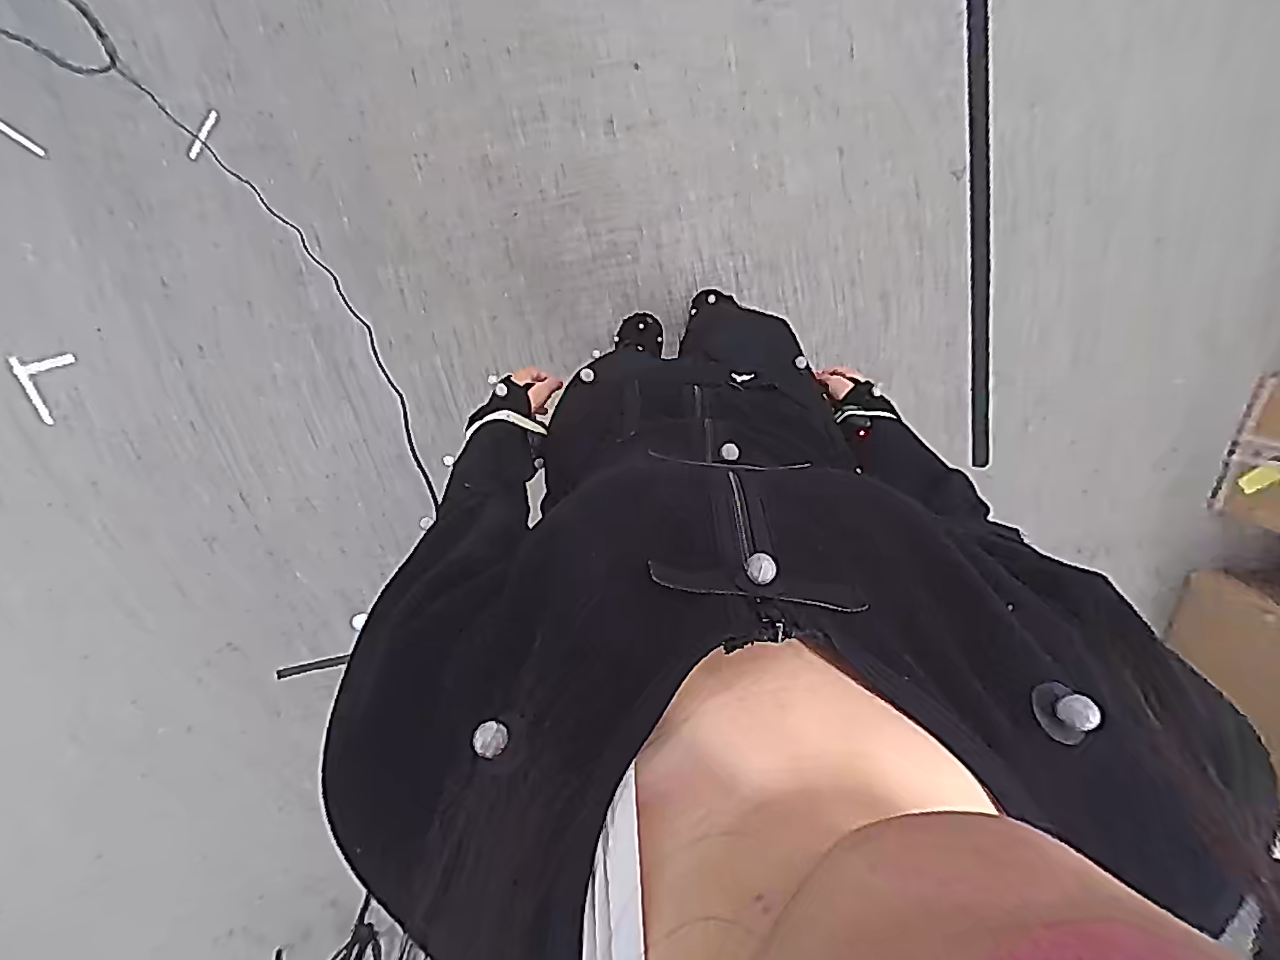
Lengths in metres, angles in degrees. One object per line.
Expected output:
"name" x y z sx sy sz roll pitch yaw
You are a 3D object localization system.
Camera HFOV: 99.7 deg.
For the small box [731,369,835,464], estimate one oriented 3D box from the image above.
"small box" 0.360 -0.173 1.401 0.179 0.176 0.168 39 102 -15
